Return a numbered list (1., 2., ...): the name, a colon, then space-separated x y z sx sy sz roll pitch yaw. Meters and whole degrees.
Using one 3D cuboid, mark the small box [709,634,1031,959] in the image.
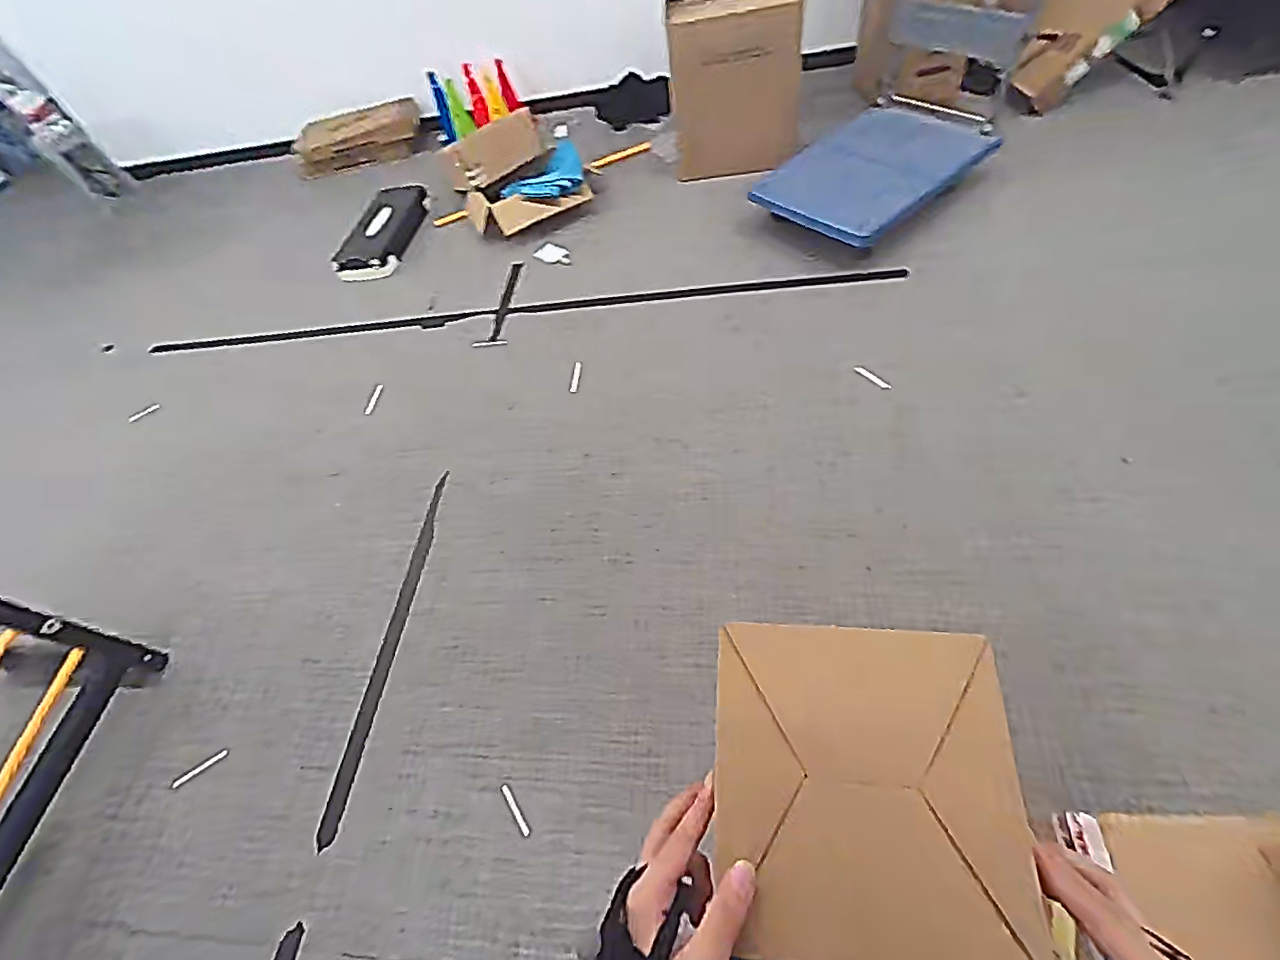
1. small box: 0.136 0.217 0.381 0.168 0.176 0.179 0 63 11
